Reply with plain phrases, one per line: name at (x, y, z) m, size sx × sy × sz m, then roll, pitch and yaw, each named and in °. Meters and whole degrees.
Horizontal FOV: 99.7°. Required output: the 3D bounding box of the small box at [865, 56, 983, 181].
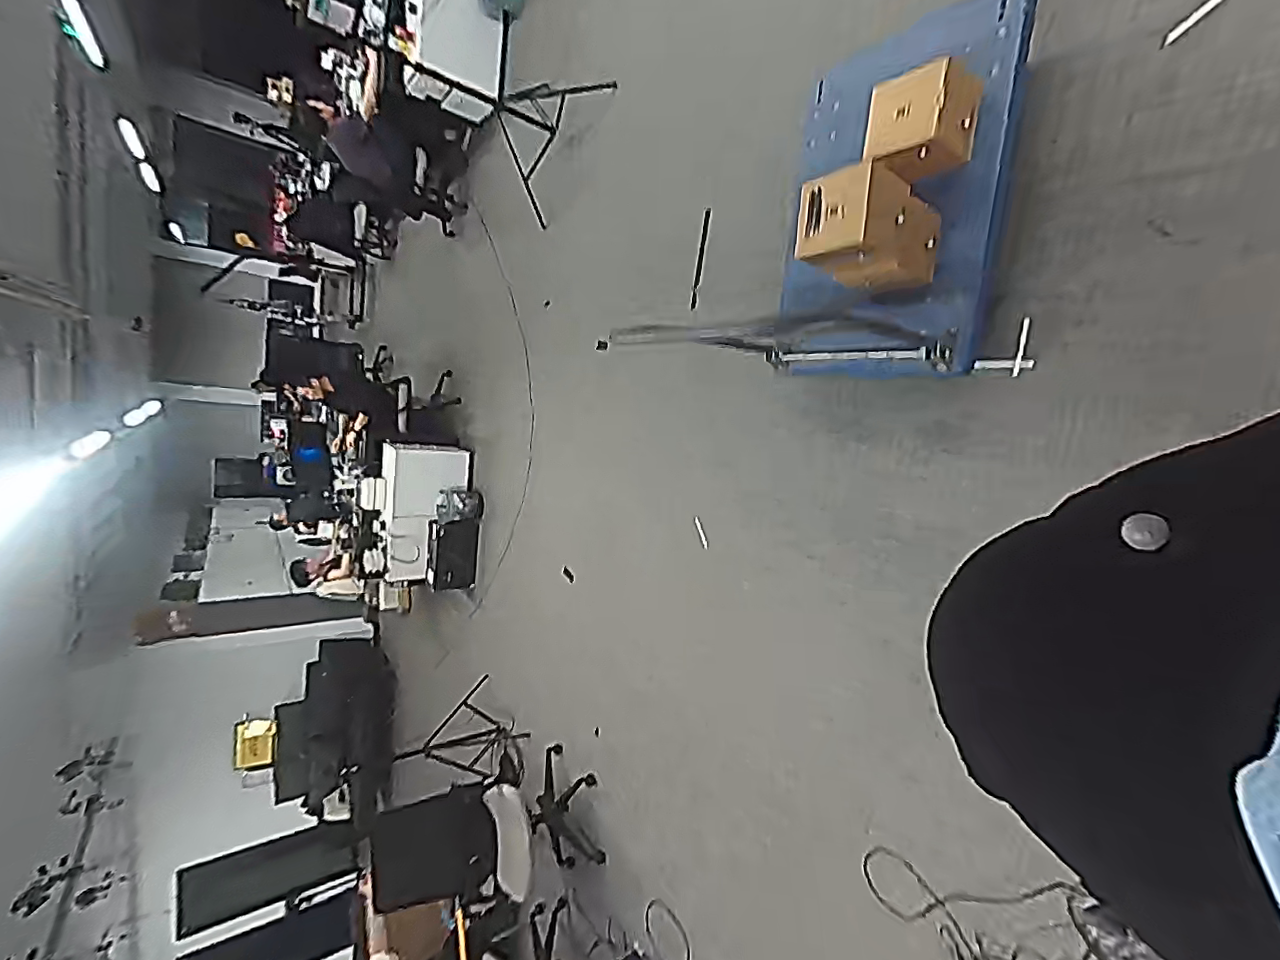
small box at (0.663, -0.830, 1.265) m, size 0.179 × 0.176 × 0.168 m, roll 15°, pitch 101°, yaw 52°

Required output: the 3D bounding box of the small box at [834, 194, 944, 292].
small box at (0.610, -0.570, 1.329) m, size 0.179 × 0.176 × 0.168 m, roll 13°, pitch 100°, yaw 52°
